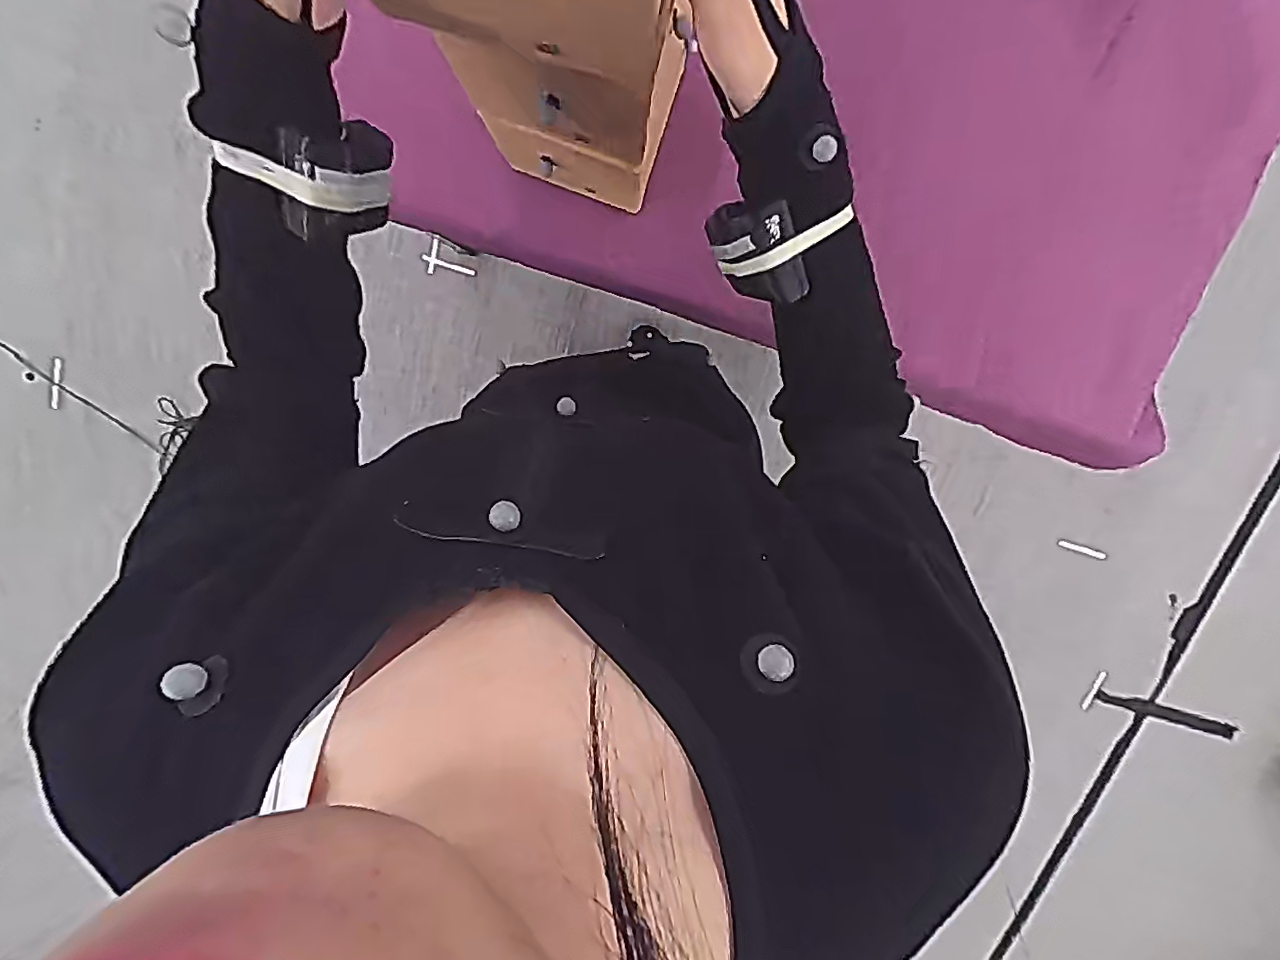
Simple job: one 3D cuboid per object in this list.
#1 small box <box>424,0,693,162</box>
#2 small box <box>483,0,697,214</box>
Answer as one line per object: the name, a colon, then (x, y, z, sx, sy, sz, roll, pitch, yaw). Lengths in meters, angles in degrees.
small box: (-0.045, -0.387, 0.427, 0.168, 0.176, 0.179, 16, 102, -6)
small box: (-0.050, -0.418, 0.588, 0.168, 0.176, 0.179, 18, 101, -6)
